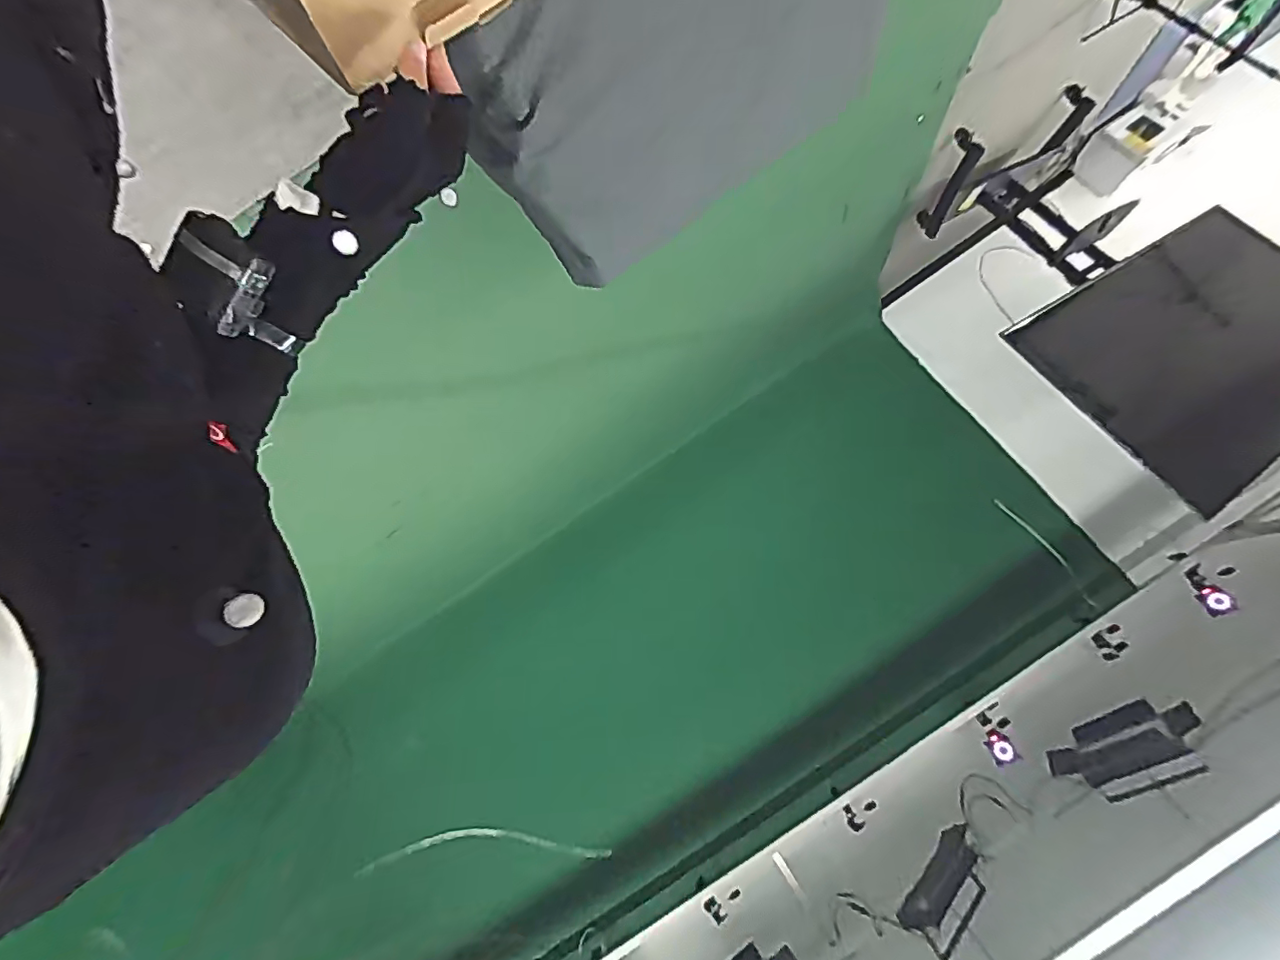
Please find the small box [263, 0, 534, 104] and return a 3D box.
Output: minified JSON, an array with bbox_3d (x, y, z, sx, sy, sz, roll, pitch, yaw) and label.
[{"bbox_3d":[-0.189,-0.394,0.334,0.168,0.176,0.179,-43,159,-9],"label":"small box"}]
